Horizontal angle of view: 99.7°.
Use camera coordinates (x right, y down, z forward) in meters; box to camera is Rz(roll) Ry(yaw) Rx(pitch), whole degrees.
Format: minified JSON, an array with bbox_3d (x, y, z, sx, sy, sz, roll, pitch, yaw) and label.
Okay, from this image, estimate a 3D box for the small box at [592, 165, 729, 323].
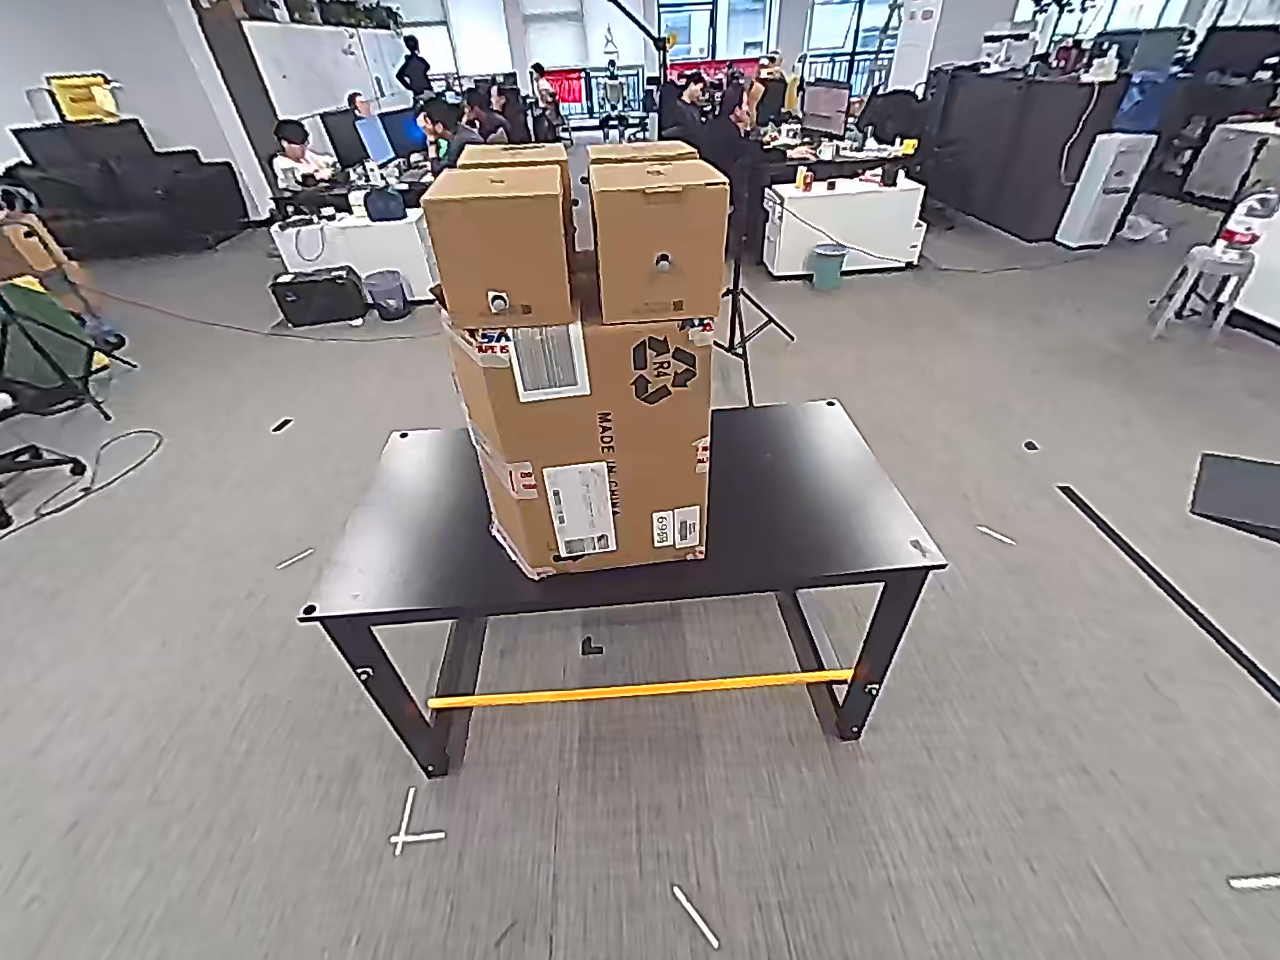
[{"bbox_3d":[0.022,-0.330,0.761,0.168,0.176,0.179,-4,40,-5],"label":"small box"}]
